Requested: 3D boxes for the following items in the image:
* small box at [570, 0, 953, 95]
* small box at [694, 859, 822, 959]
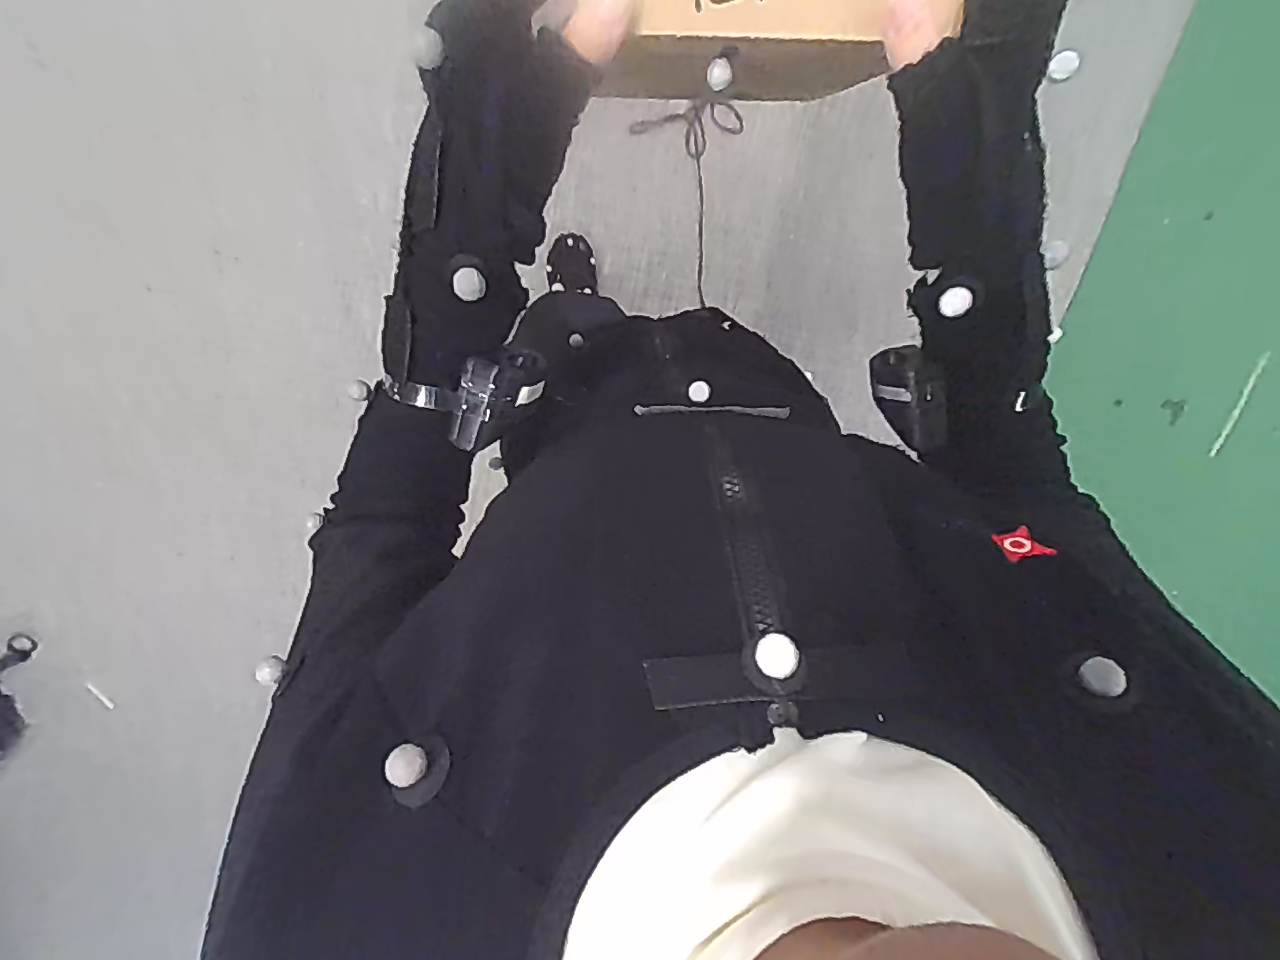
[{"bbox_3d":[0.047,-0.309,0.259,0.168,0.176,0.179,-1,118,-4],"label":"small box"},{"bbox_3d":[0.211,0.859,1.022,0.168,0.176,0.179,12,106,-9],"label":"small box"}]
